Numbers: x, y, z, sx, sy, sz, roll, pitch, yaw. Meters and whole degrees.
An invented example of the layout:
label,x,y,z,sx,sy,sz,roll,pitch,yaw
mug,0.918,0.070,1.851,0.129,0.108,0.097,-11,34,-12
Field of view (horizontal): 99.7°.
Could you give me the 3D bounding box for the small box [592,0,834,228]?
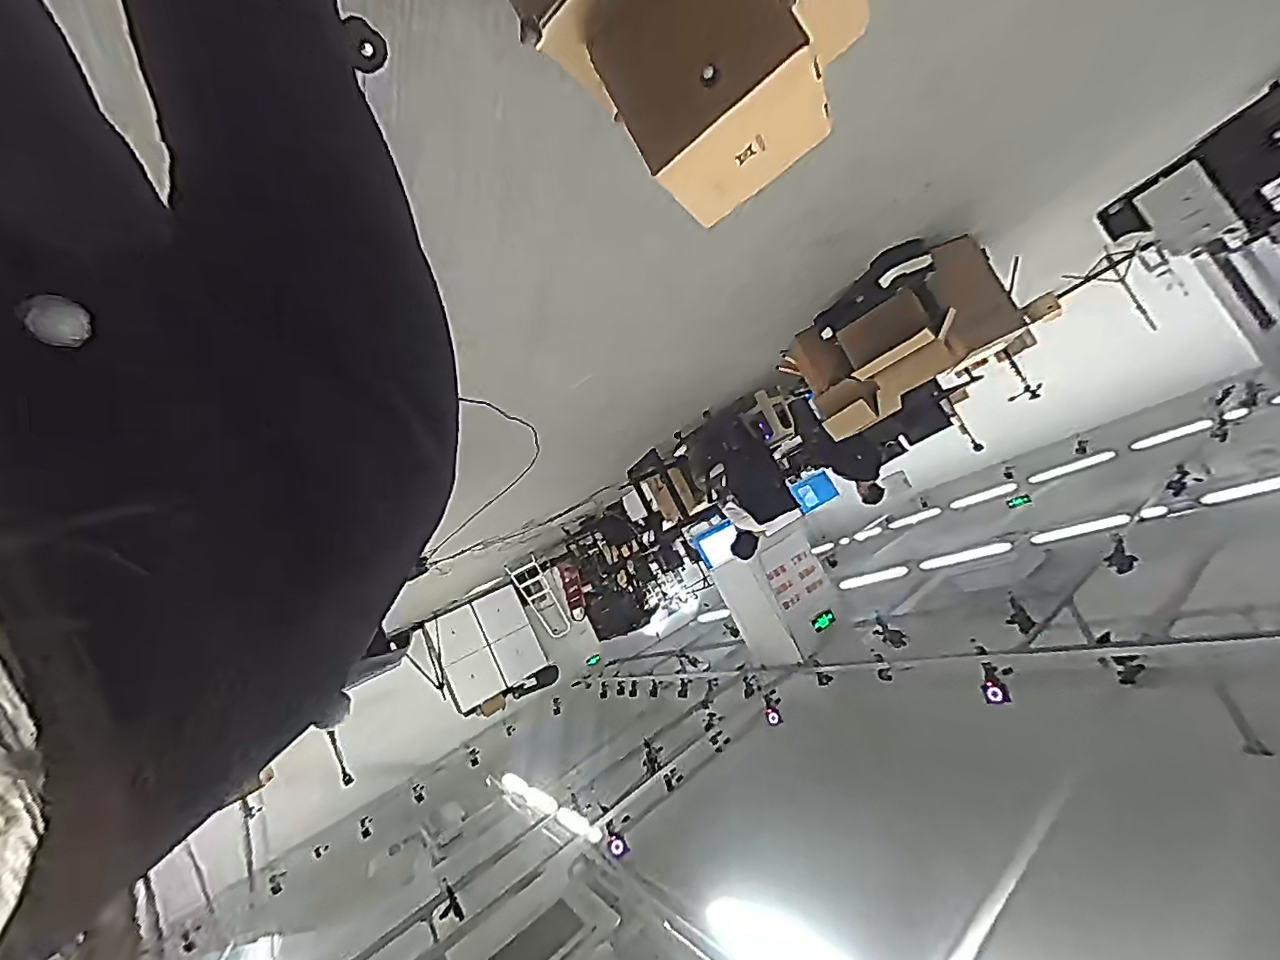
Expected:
label,x,y,z,sx,sy,sz,roll,pitch,yaw
small box,0.080,-0.421,0.584,0.179,0.176,0.168,-30,171,27
